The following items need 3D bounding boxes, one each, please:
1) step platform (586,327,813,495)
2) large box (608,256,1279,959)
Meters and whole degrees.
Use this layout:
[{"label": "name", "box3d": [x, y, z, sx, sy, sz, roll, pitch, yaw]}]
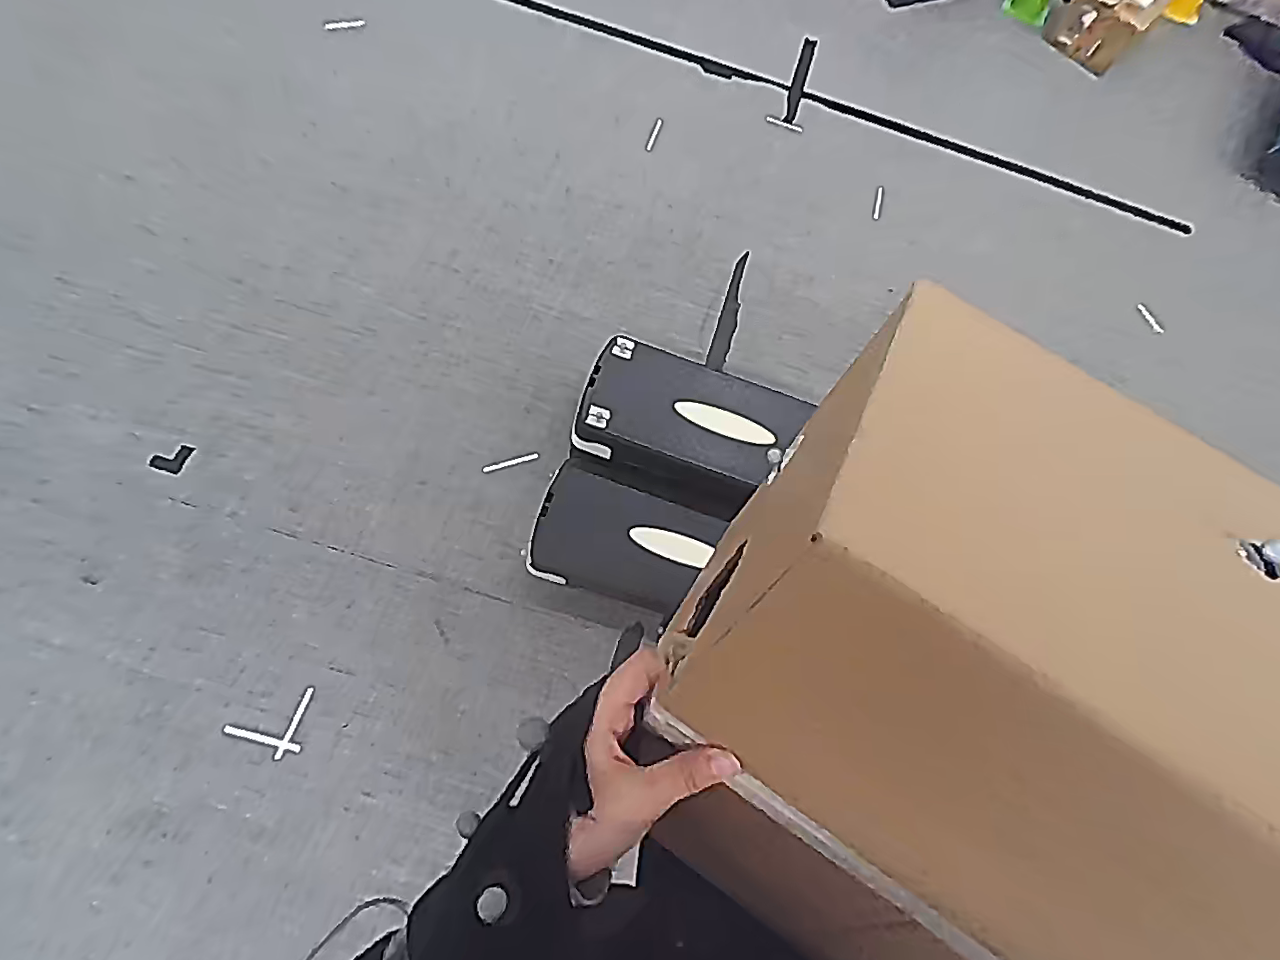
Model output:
[{"label": "step platform", "box3d": [0.215, -0.108, 1.330, 0.684, 0.204, 0.286, 24, 68, 0]}, {"label": "large box", "box3d": [0.254, 0.116, 0.354, 0.408, 0.320, 0.320, 33, 45, 7]}]
